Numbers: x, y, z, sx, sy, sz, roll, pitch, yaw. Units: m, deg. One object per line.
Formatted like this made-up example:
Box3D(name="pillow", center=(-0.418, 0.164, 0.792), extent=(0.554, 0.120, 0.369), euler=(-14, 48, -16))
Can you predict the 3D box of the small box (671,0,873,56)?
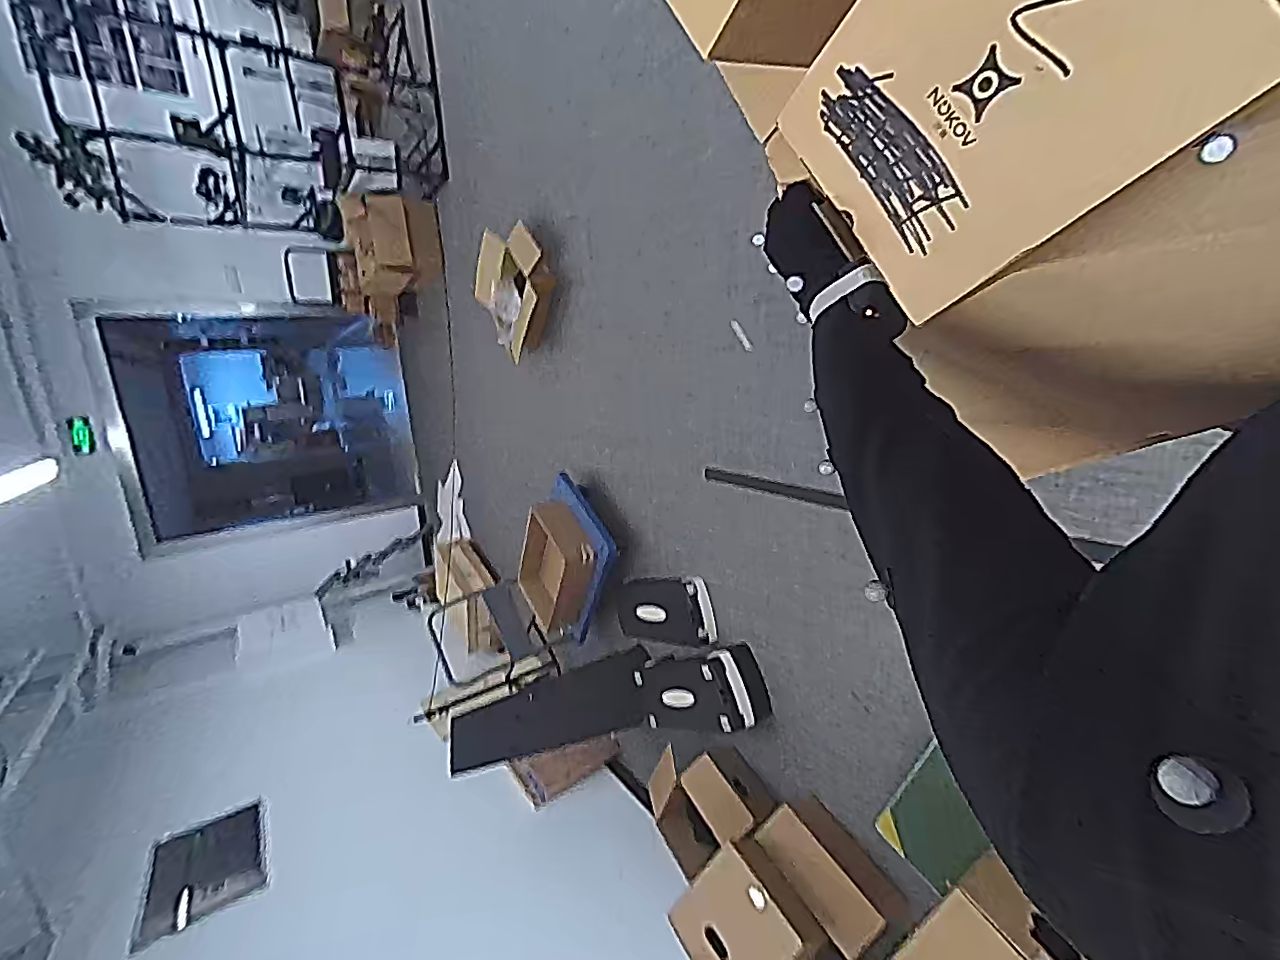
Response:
Box3D(name="small box", center=(0.103, -0.429, 0.360), extent=(0.179, 0.176, 0.168), euler=(63, 147, 3))
